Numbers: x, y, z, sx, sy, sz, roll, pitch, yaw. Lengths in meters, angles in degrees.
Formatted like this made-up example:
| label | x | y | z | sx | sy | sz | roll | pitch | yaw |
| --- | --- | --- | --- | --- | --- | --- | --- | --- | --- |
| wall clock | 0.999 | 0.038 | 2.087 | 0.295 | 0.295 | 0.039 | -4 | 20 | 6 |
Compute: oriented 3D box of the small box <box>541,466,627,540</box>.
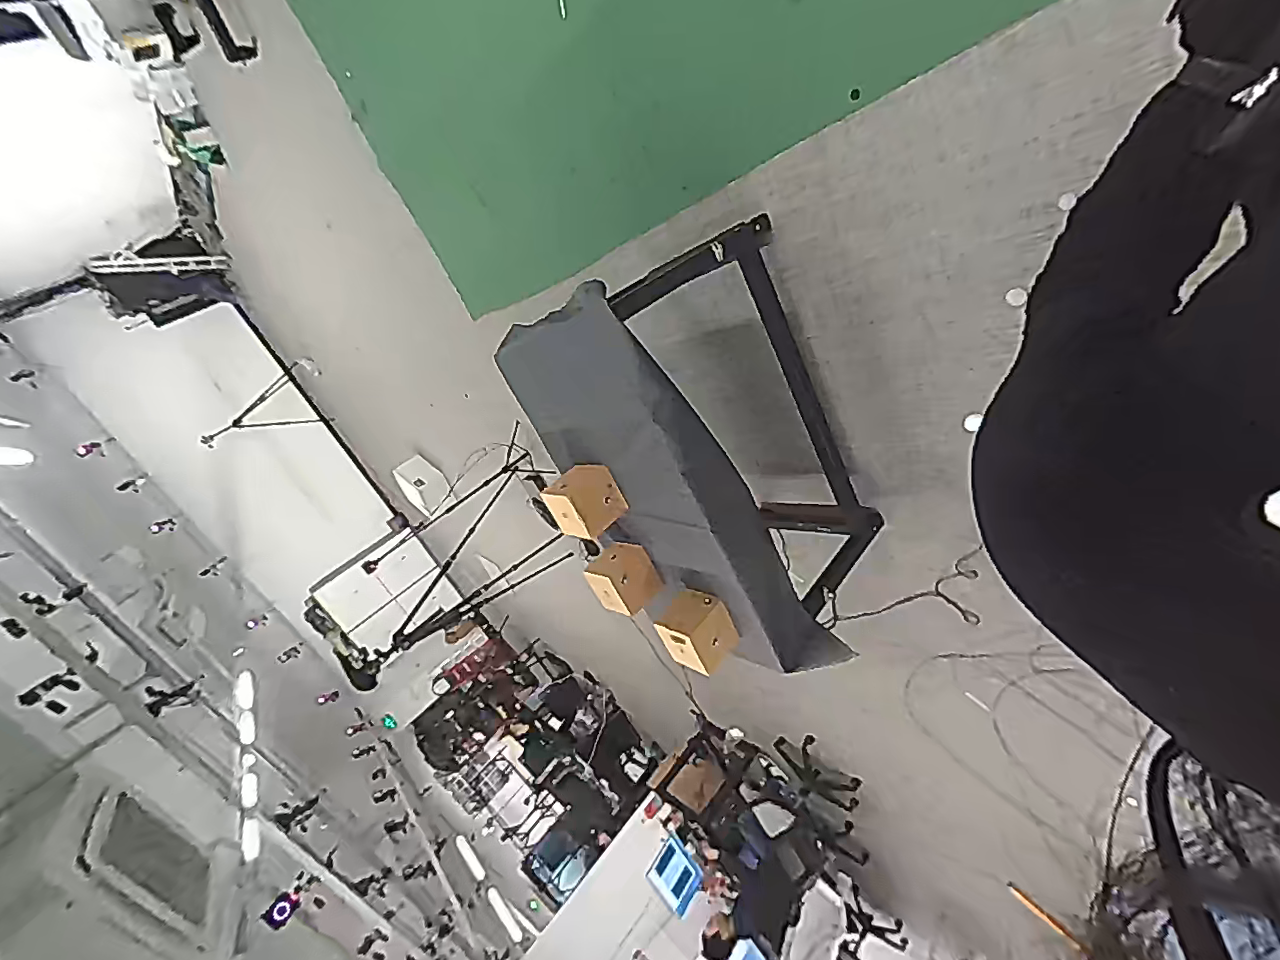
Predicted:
| label | x | y | z | sx | sy | sz | roll | pitch | yaw |
| --- | --- | --- | --- | --- | --- | --- | --- | --- | --- |
| small box | -0.173 | 0.066 | 1.706 | 0.179 | 0.176 | 0.168 | 2 | 126 | 51 |

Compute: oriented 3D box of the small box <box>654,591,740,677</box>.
| label | x | y | z | sx | sy | sz | roll | pitch | yaw |
| --- | --- | --- | --- | --- | --- | --- | --- | --- | --- |
| small box | 0.182 | 0.474 | 1.695 | 0.168 | 0.176 | 0.179 | 5 | 129 | 52 |

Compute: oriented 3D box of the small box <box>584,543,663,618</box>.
| label | x | y | z | sx | sy | sz | roll | pitch | yaw |
| --- | --- | --- | --- | --- | --- | --- | --- | --- | --- |
| small box | -0.054 | 0.337 | 1.849 | 0.168 | 0.176 | 0.179 | 0 | 125 | 52 |
